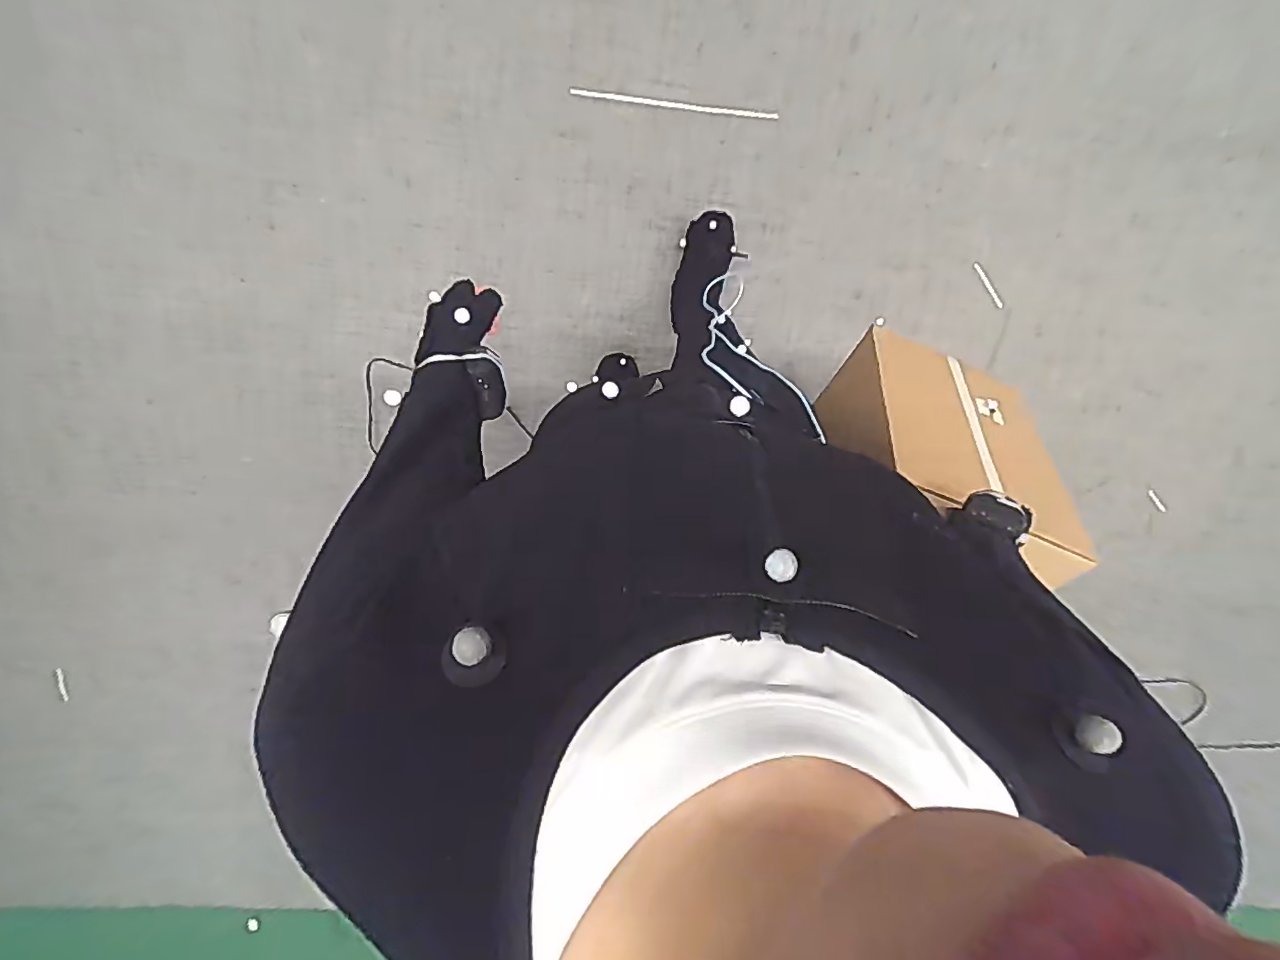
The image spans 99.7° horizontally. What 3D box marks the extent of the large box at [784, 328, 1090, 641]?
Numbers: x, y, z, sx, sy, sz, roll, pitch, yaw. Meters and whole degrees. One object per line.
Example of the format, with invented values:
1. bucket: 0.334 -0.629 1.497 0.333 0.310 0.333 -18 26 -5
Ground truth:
1. large box: 0.469 0.009 0.965 0.320 0.408 0.320 22 136 -6
